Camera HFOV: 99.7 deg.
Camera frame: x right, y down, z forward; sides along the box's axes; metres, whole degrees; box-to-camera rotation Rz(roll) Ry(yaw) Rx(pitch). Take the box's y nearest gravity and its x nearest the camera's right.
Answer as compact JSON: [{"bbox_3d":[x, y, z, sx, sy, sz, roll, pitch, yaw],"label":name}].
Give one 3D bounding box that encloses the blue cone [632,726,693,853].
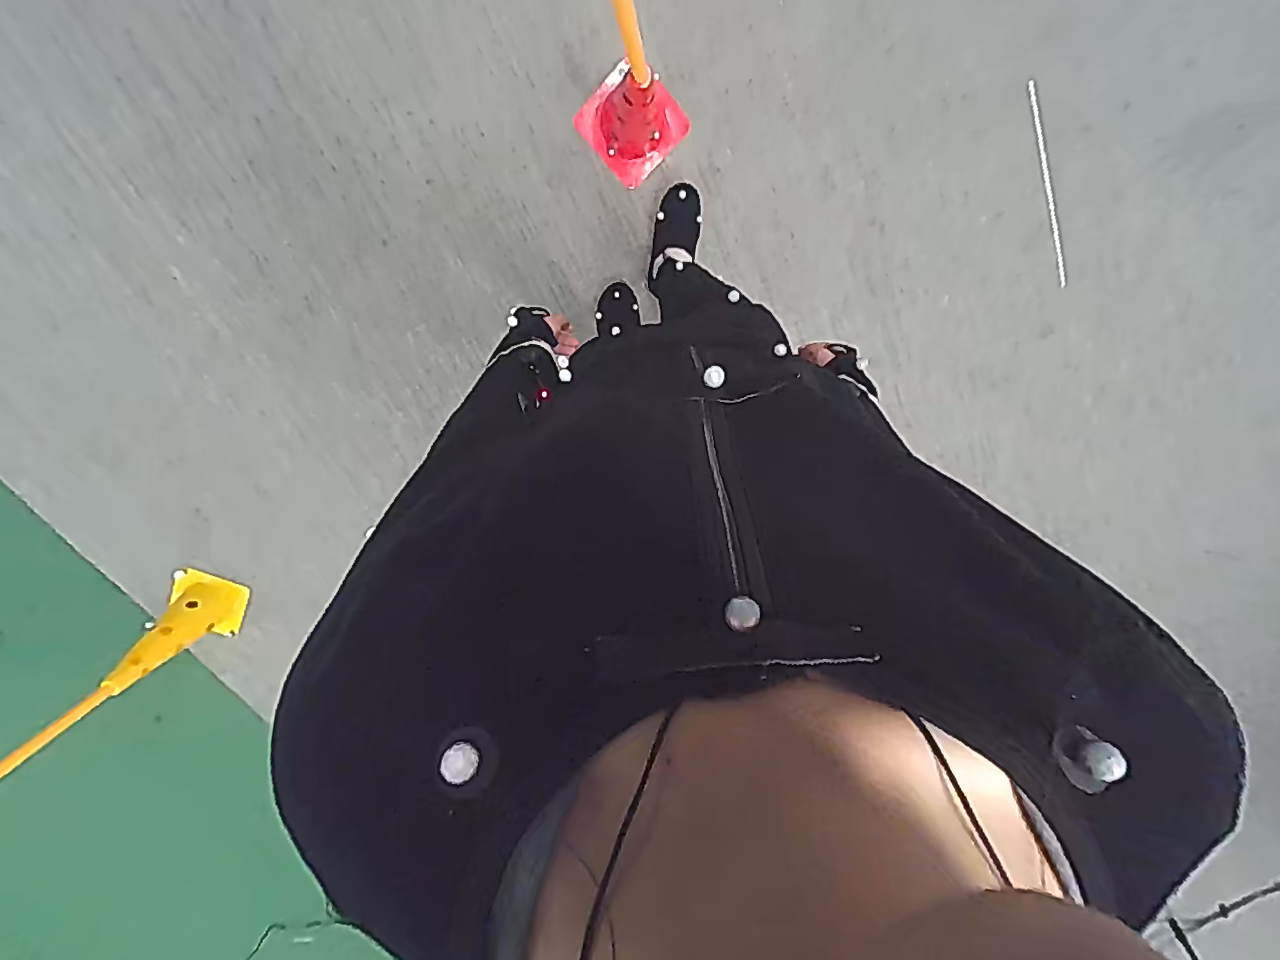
[{"bbox_3d":[0.097,1.023,1.782,0.193,0.380,0.192,16,110,-12],"label":"blue cone"}]
